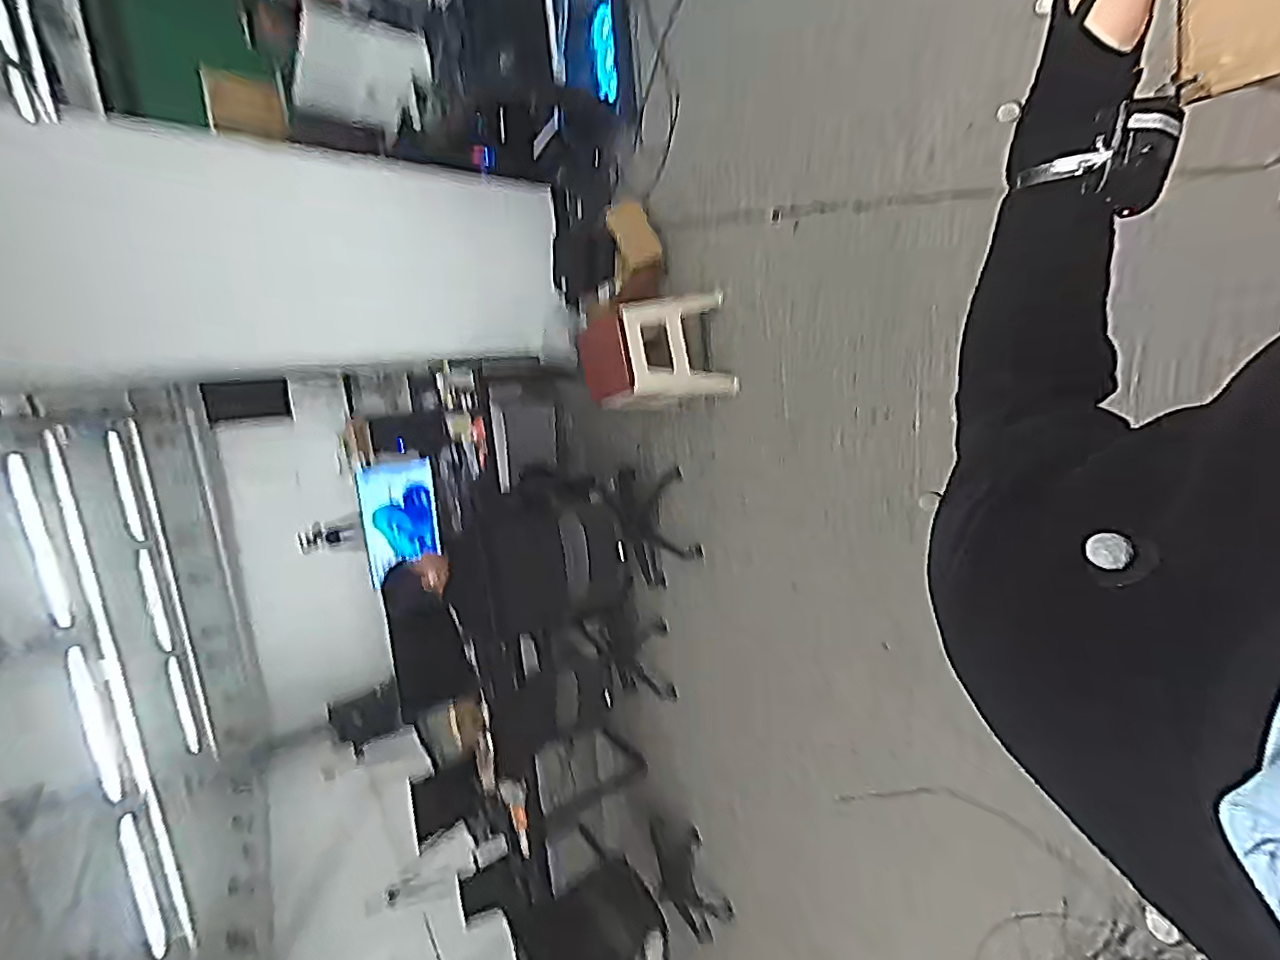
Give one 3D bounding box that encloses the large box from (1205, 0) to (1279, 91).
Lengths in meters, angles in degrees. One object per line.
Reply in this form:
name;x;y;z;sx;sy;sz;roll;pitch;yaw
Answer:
large box;0.581;-0.457;0.241;0.408;0.320;0.320;11;124;56
